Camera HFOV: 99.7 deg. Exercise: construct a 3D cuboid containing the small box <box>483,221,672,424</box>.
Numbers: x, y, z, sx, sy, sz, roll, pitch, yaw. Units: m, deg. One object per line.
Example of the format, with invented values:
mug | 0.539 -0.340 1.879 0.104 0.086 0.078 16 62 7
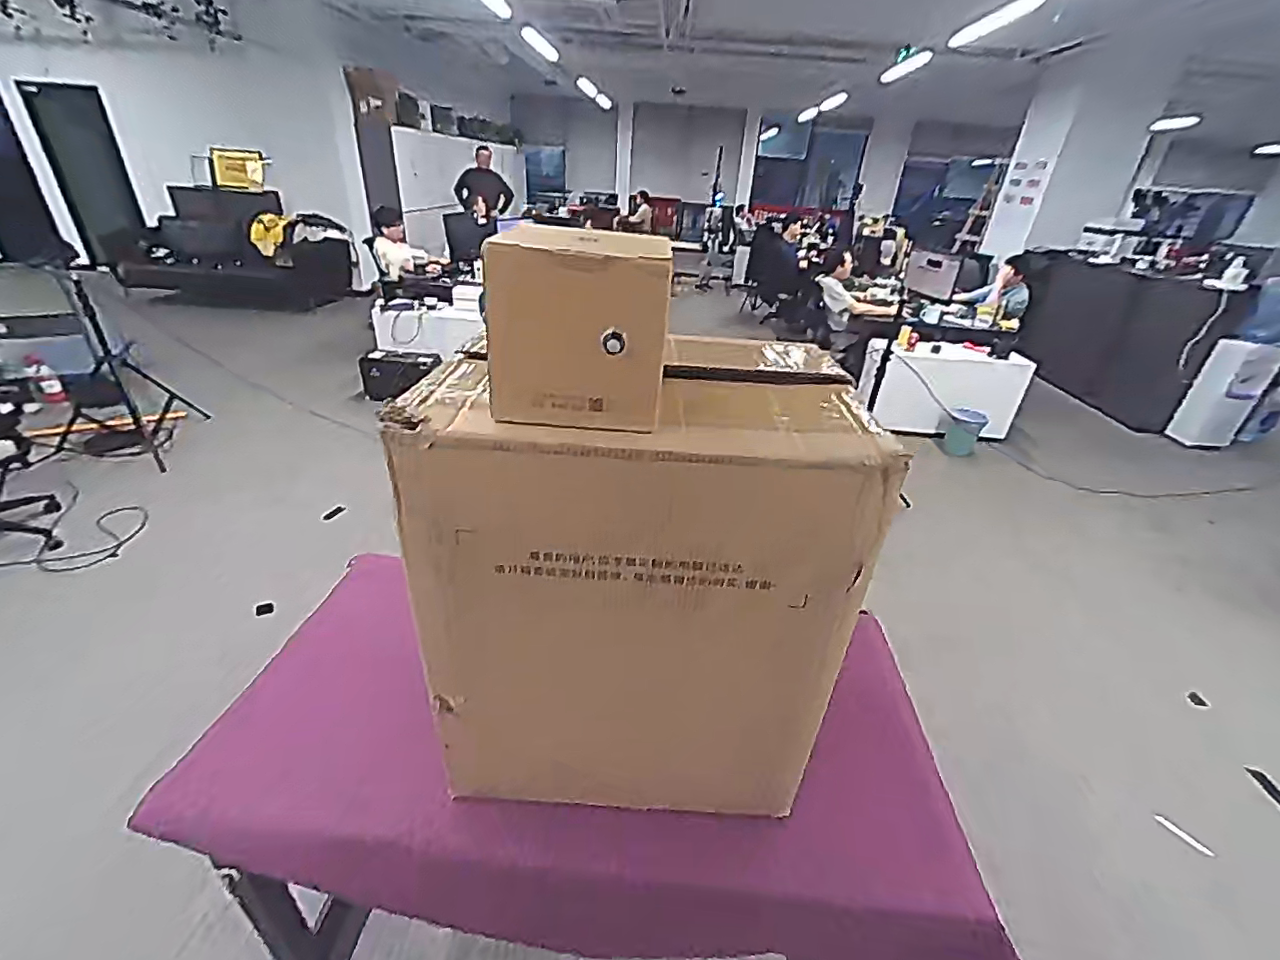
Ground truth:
small box | -0.058 -0.169 0.571 0.168 0.176 0.179 5 28 -2
